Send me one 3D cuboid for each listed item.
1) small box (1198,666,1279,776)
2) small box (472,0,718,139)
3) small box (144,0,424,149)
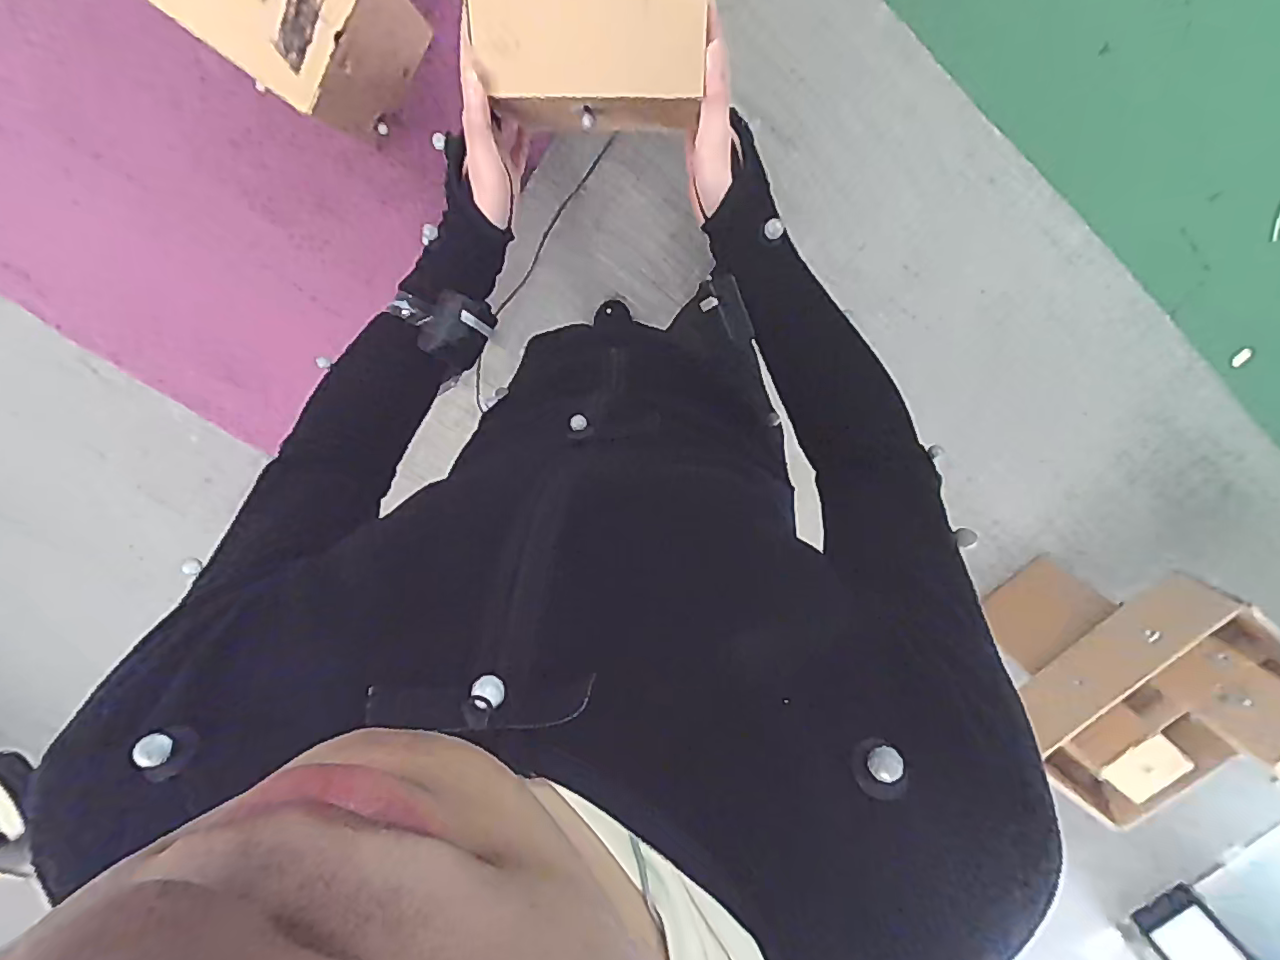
[{"bbox_3d":[1.422,0.549,1.194,0.179,0.176,0.168,36,104,-14],"label":"small box"},{"bbox_3d":[-0.027,-0.386,0.440,0.179,0.176,0.168,2,115,1],"label":"small box"},{"bbox_3d":[-0.377,-0.509,0.608,0.179,0.176,0.168,33,105,-12],"label":"small box"}]
